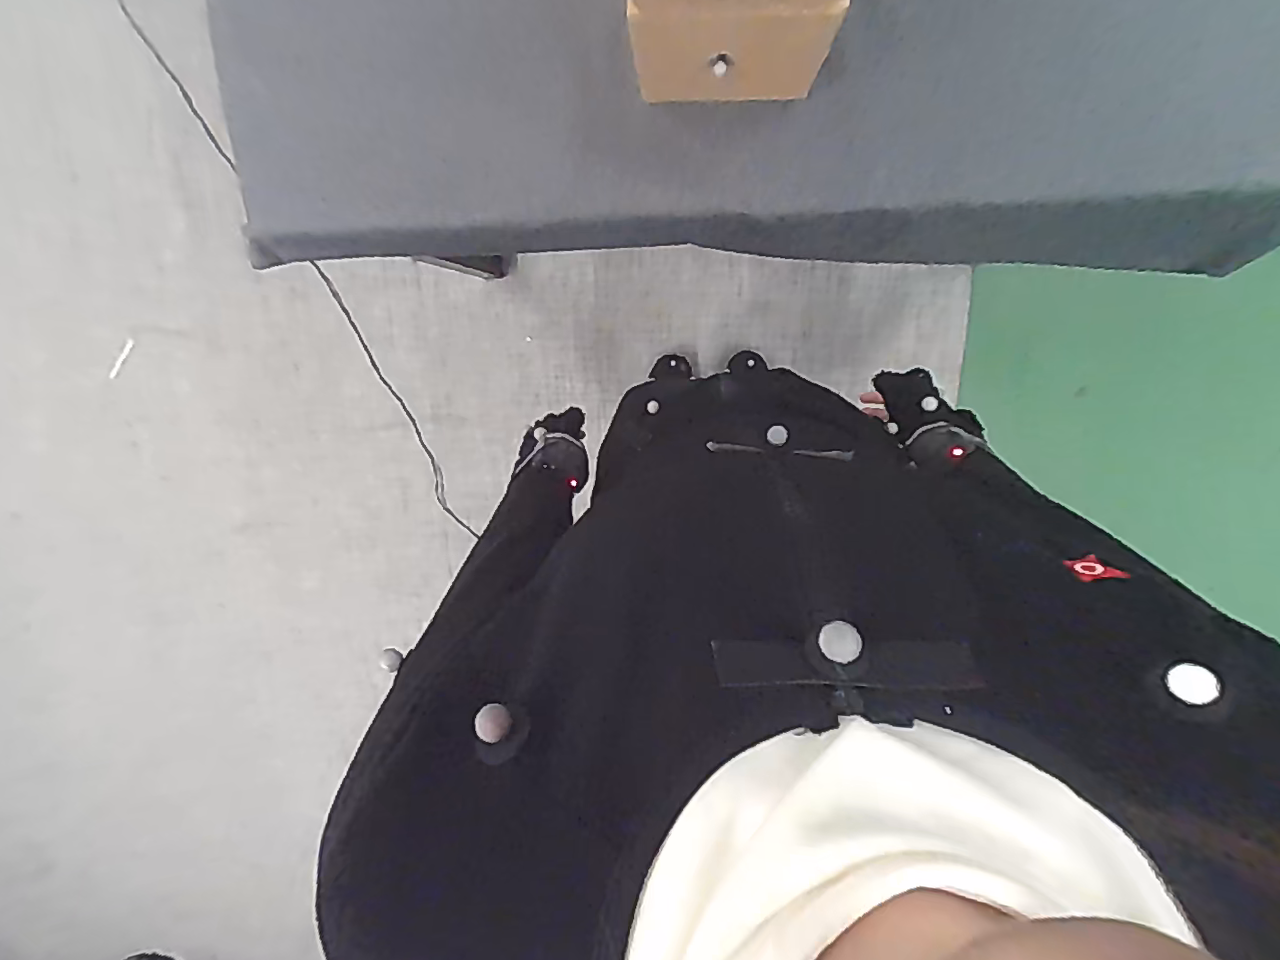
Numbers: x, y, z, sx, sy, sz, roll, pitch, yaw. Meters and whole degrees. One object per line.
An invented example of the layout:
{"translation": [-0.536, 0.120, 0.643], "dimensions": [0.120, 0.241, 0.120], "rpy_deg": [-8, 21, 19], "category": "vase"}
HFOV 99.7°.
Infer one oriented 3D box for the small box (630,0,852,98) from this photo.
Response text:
{"translation": [0.087, -0.469, 0.483], "dimensions": [0.179, 0.176, 0.168], "rpy_deg": [2, 105, 6], "category": "small box"}
